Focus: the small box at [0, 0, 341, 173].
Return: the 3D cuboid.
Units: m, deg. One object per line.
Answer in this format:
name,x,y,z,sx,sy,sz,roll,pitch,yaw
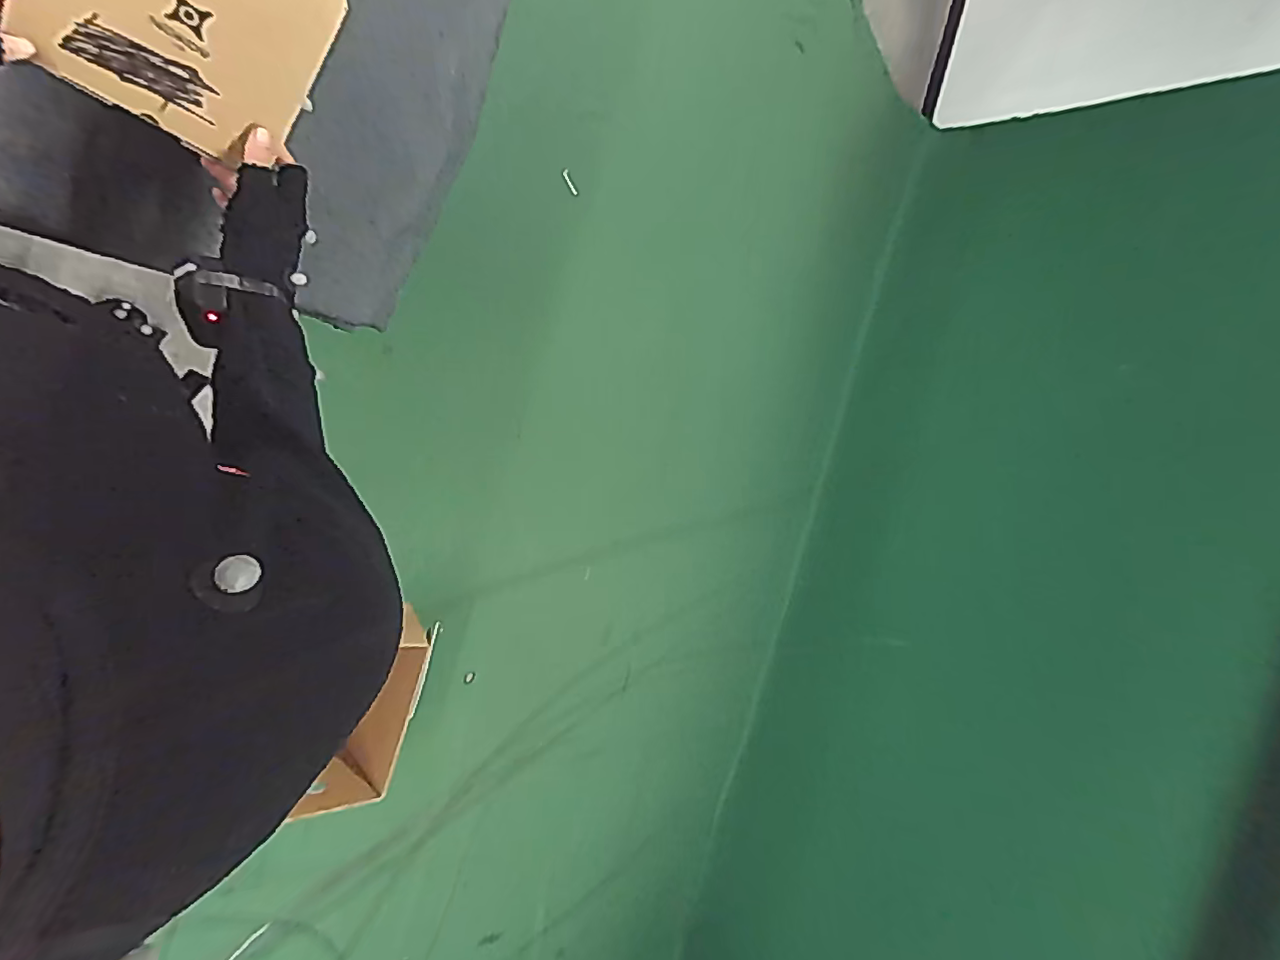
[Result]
small box,-0.371,-0.409,0.442,0.179,0.176,0.168,-40,147,24
